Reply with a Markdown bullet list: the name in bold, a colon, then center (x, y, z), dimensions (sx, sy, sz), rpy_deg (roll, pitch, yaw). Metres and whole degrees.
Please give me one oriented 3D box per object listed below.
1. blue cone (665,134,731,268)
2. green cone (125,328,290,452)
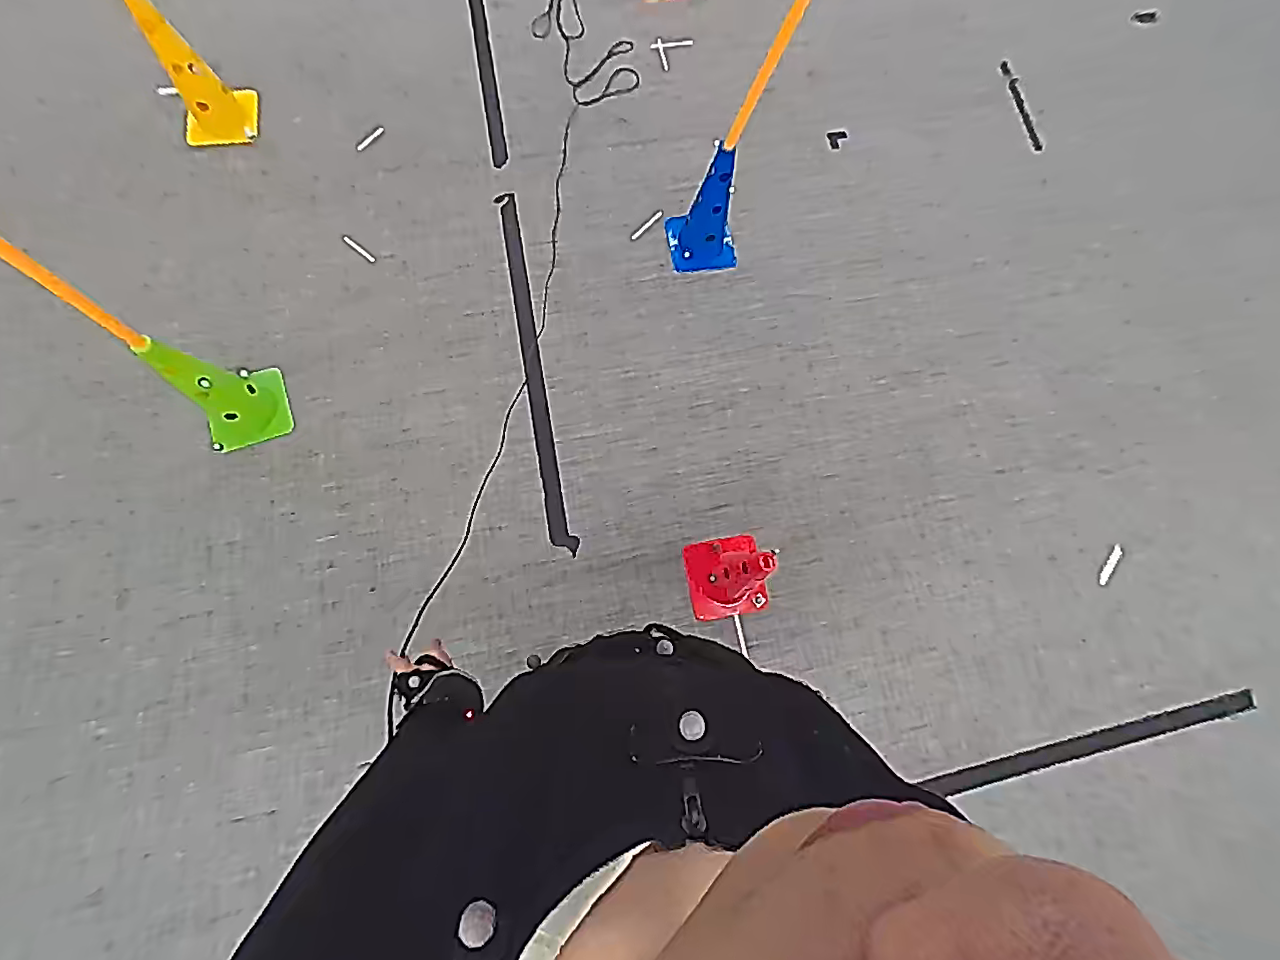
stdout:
- **blue cone**: center (0.194, -0.787, 1.521), dimensions (0.193, 0.380, 0.192), rpy_deg (-7, 75, -7)
- **green cone**: center (-1.027, -0.236, 1.261), dimensions (0.200, 0.368, 0.202), rpy_deg (-20, 76, -10)
